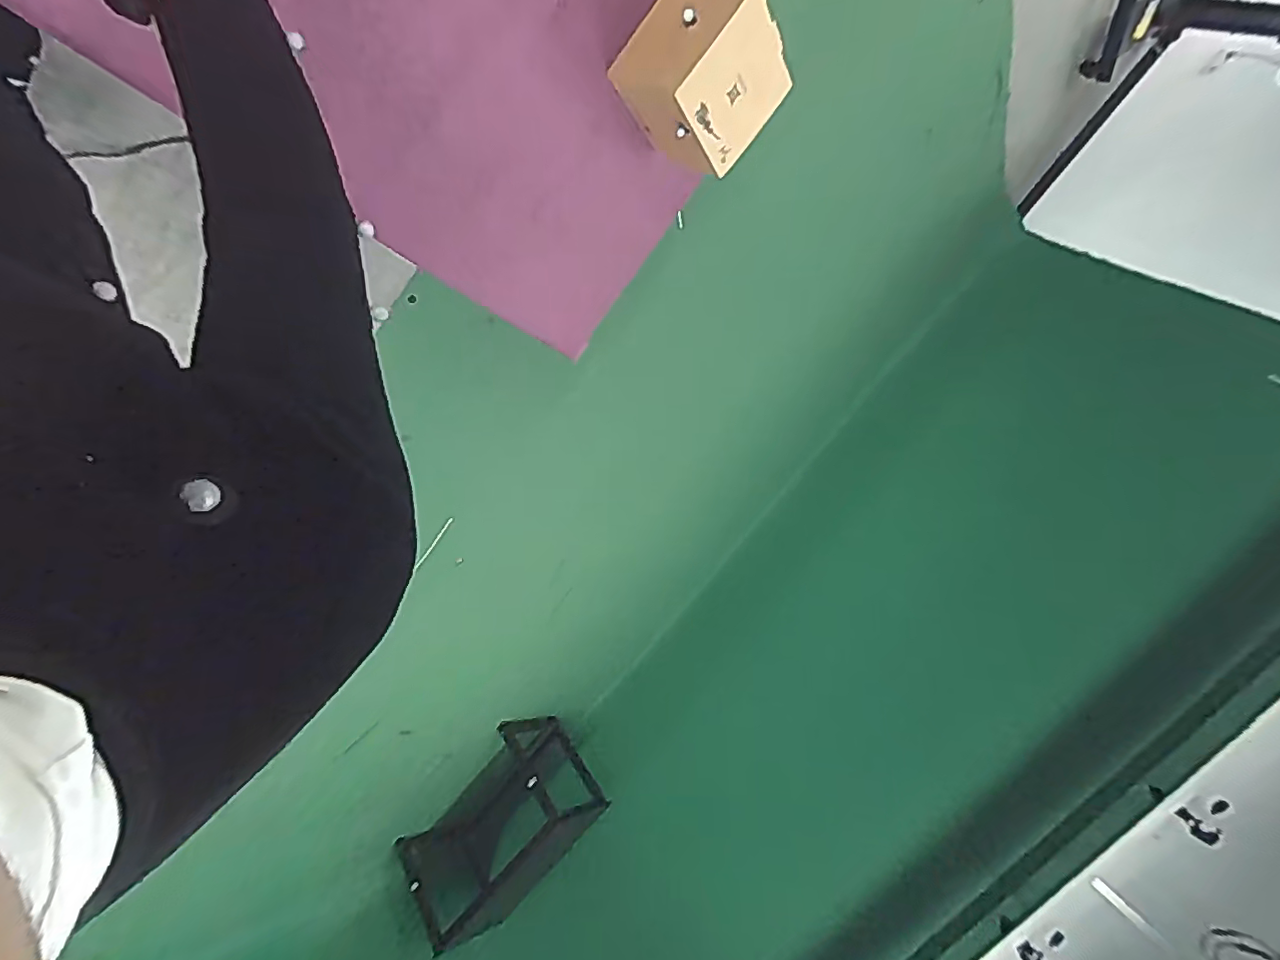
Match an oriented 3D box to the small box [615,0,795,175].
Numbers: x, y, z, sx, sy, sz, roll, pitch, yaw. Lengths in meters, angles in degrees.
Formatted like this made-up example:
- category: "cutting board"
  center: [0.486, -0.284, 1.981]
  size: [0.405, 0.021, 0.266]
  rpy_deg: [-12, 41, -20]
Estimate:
- category: "small box"
  center: [0.095, -0.609, 0.811]
  size: [0.179, 0.176, 0.168]
  rpy_deg: [-51, 145, 8]
